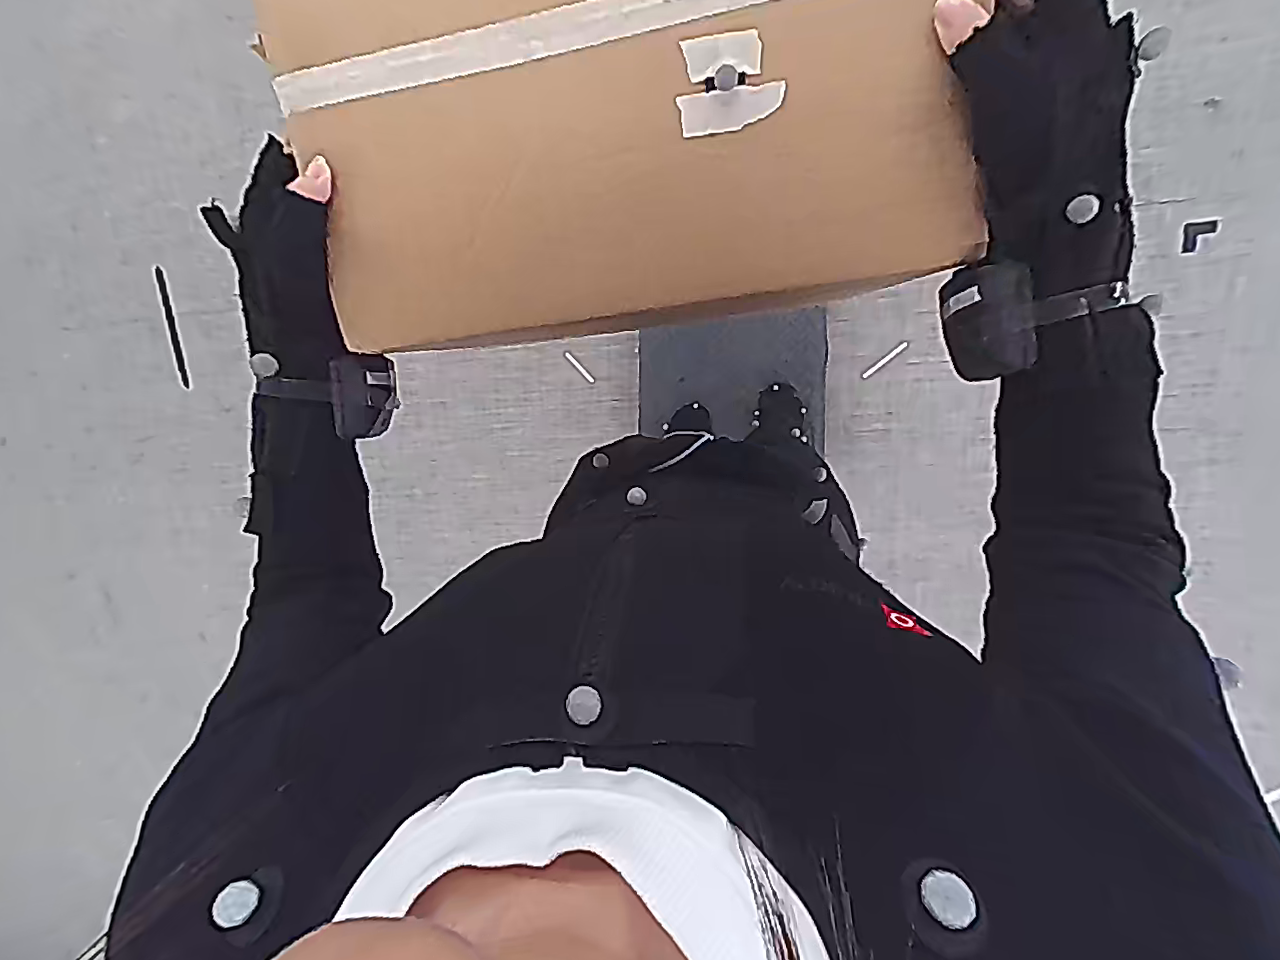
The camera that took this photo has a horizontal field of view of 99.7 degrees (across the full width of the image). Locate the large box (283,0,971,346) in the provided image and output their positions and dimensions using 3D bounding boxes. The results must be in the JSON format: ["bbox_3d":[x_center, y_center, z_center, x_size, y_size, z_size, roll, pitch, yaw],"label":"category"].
[{"bbox_3d":[-0.003,-0.302,0.460,0.408,0.320,0.320,-6,105,8],"label":"large box"}]
